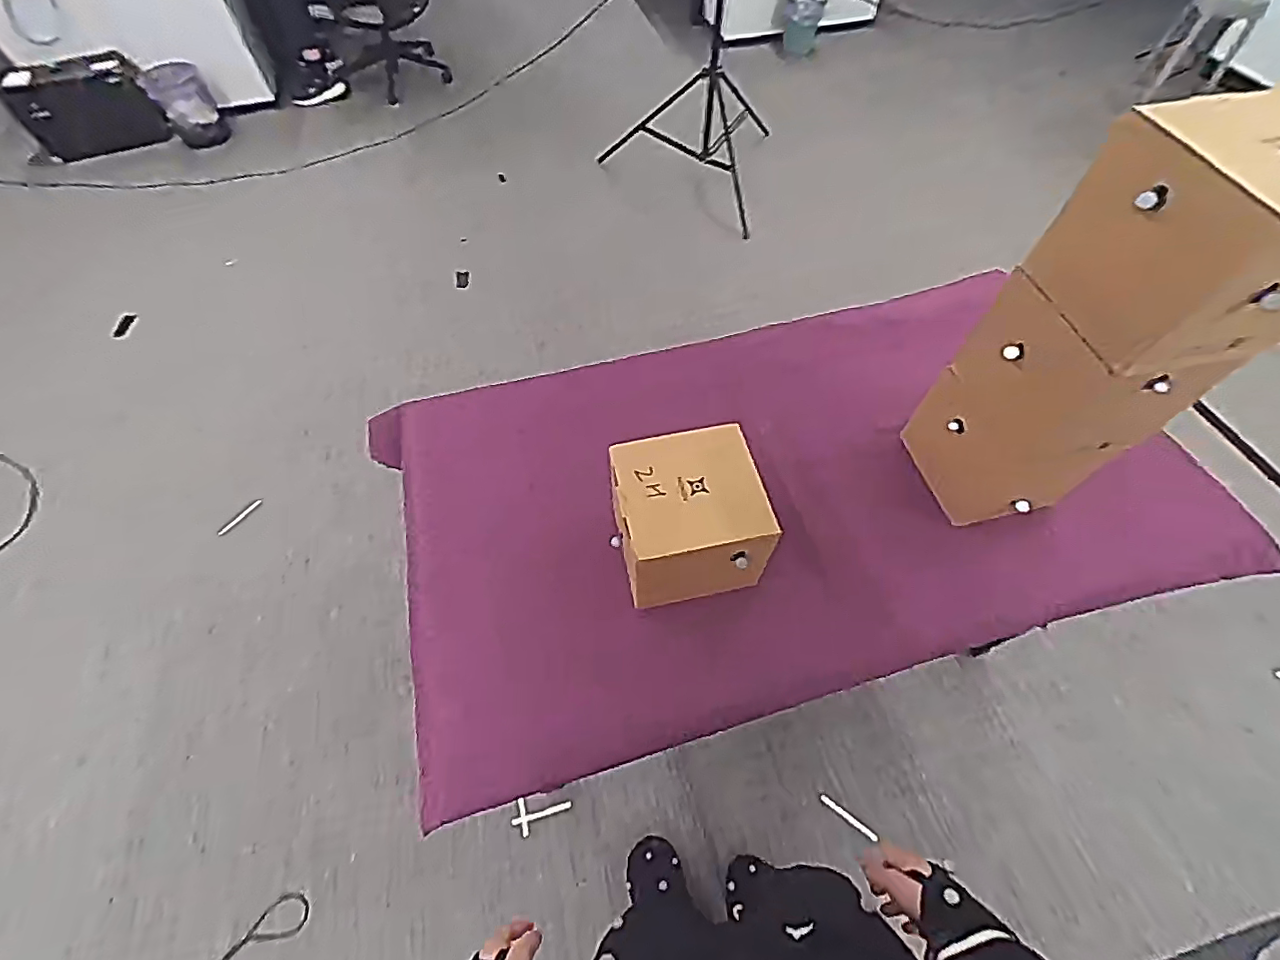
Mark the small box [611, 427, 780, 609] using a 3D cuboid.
[{"bbox_3d":[0.063,0.055,0.722,0.179,0.176,0.168,-11,58,-6],"label":"small box"}]

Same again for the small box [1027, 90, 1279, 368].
[{"bbox_3d":[0.521,-0.221,0.502,0.168,0.176,0.179,-10,58,-5],"label":"small box"}]

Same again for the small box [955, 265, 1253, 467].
[{"bbox_3d":[0.521,-0.140,0.645,0.168,0.176,0.179,-10,58,-4],"label":"small box"}]

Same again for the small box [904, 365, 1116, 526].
[{"bbox_3d":[0.522,-0.058,0.786,0.168,0.176,0.179,-12,59,-6],"label":"small box"}]
